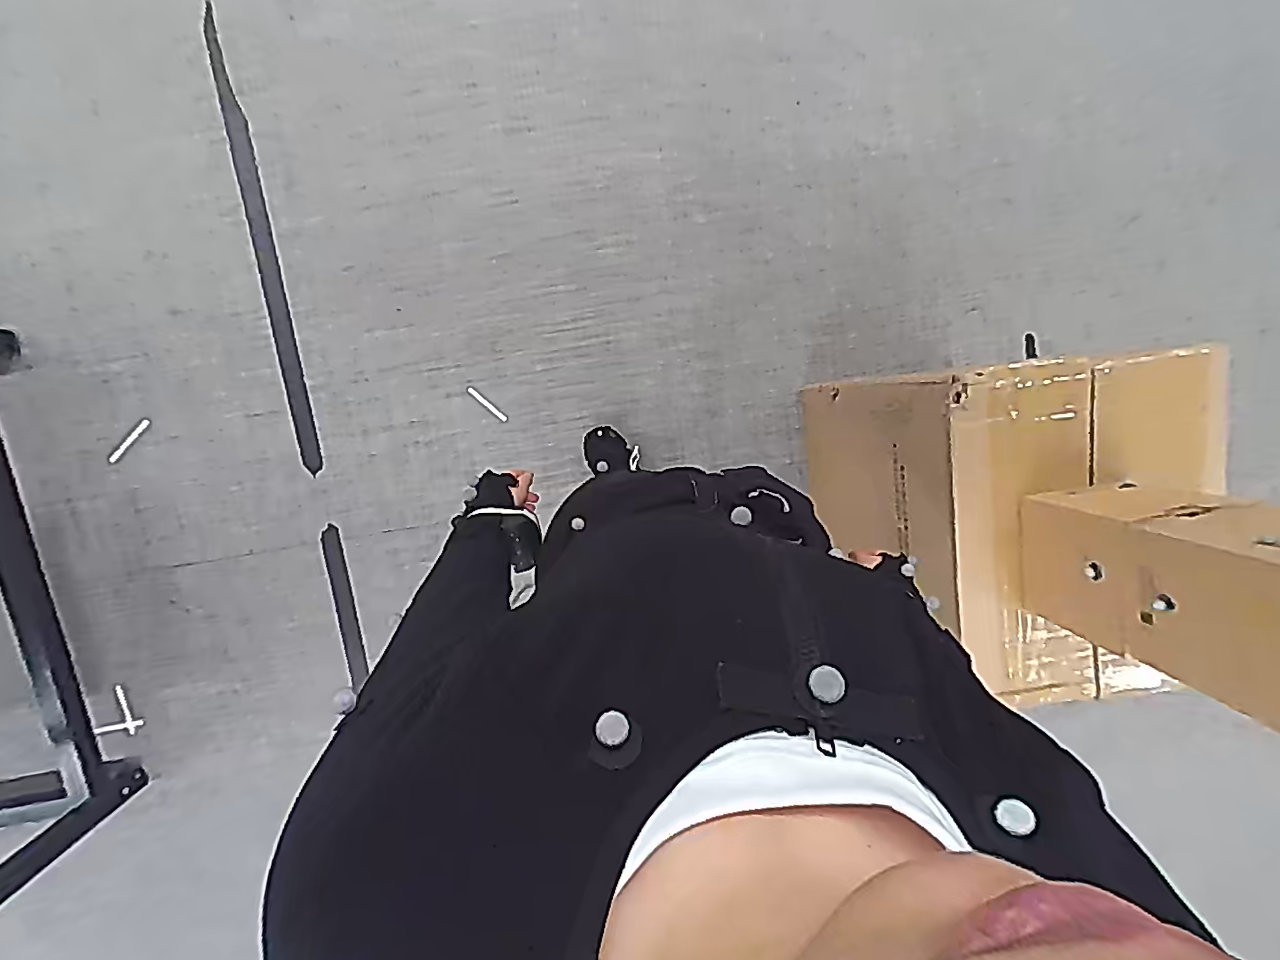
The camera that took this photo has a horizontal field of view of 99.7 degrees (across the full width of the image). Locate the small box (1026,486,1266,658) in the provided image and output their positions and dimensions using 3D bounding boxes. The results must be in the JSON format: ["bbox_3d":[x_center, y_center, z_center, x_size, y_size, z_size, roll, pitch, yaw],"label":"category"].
[{"bbox_3d":[0.645,0.107,0.711,0.168,0.176,0.179,-8,99,-1],"label":"small box"}]
